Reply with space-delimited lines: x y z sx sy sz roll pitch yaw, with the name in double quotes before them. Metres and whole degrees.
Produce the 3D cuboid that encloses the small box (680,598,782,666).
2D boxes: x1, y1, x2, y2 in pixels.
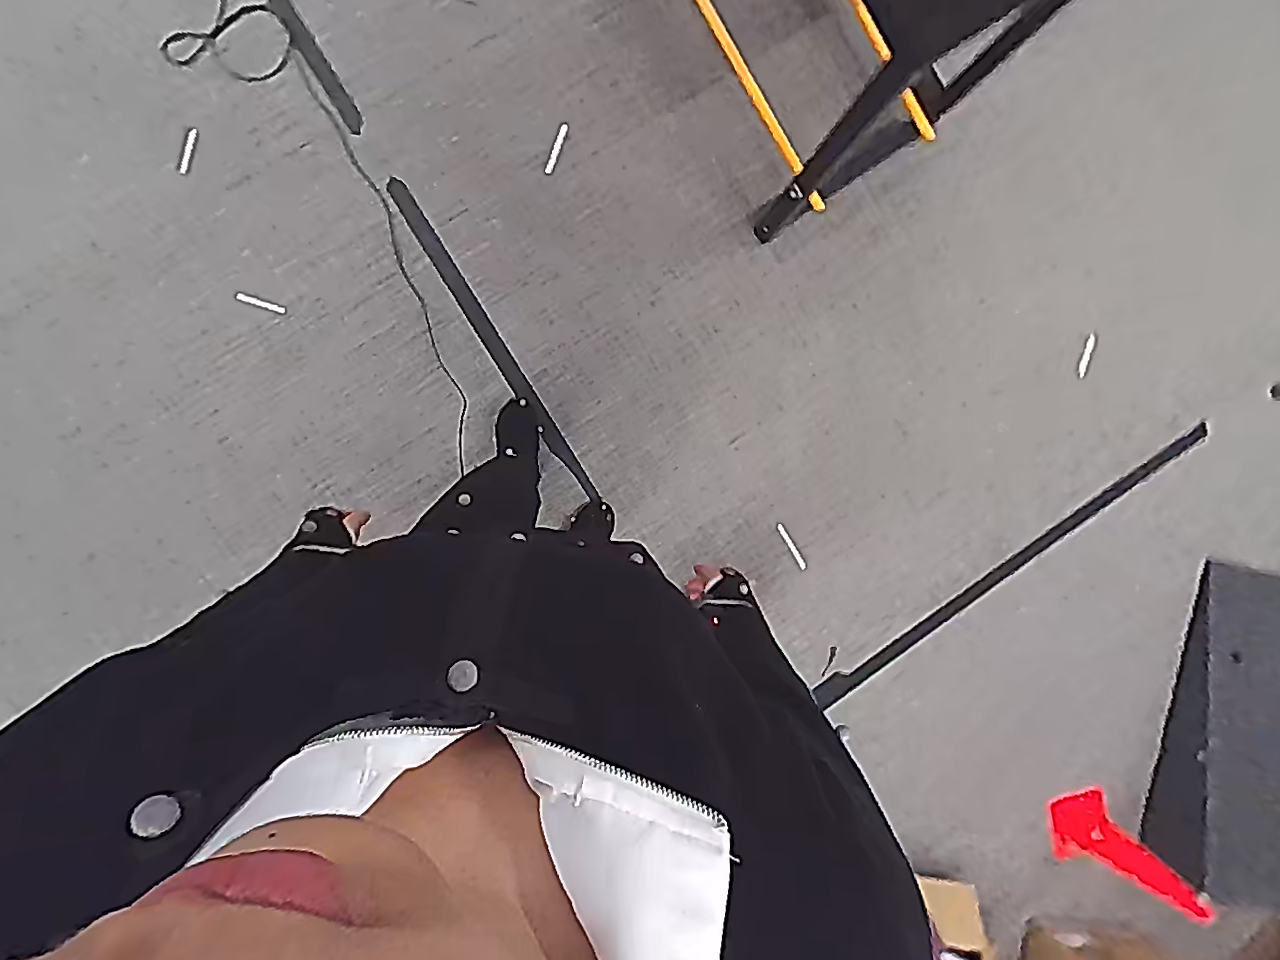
"small box" 0.226 0.433 1.393 0.168 0.176 0.179 -40 95 -4
